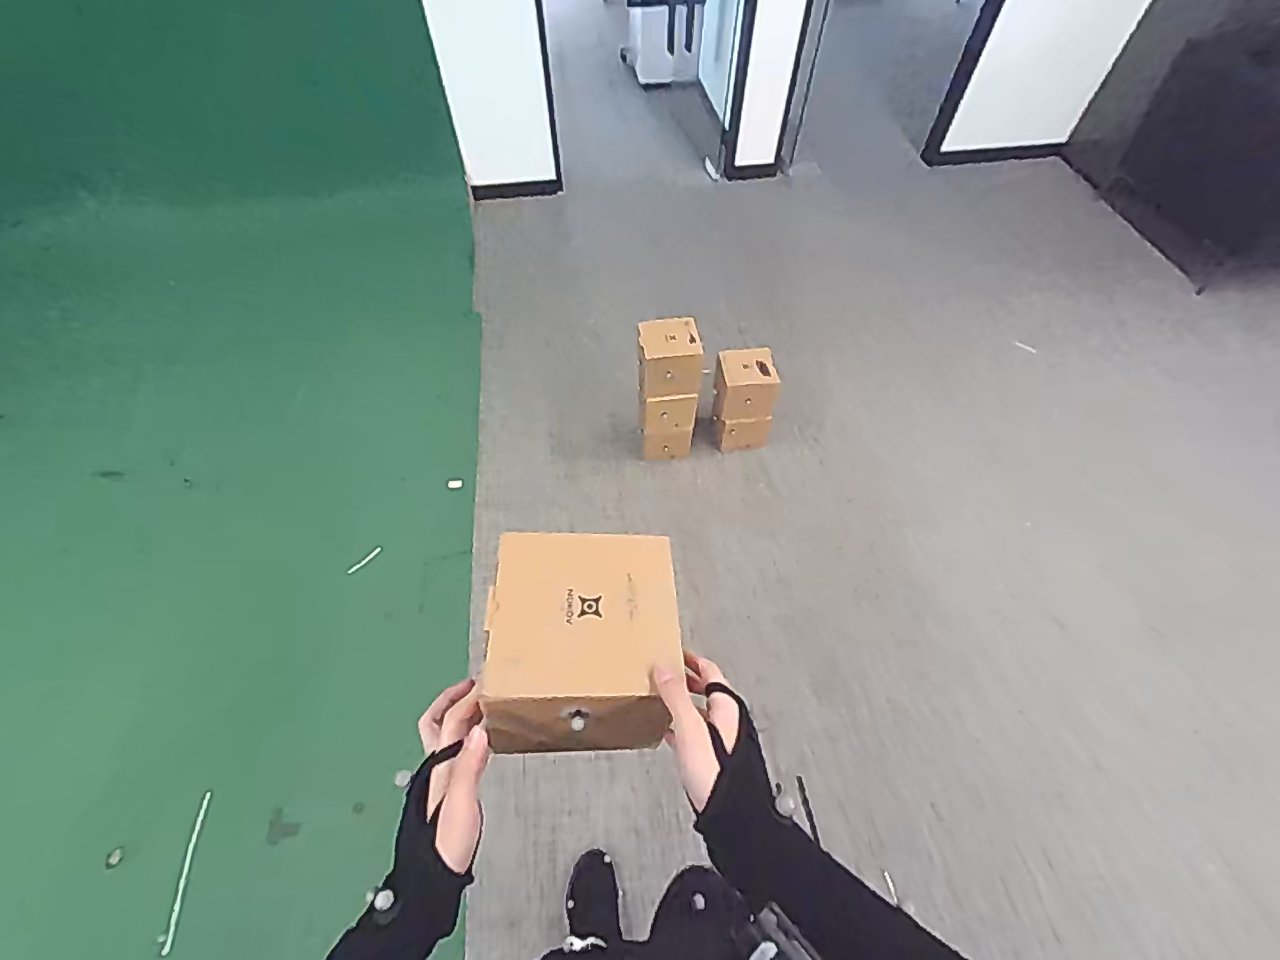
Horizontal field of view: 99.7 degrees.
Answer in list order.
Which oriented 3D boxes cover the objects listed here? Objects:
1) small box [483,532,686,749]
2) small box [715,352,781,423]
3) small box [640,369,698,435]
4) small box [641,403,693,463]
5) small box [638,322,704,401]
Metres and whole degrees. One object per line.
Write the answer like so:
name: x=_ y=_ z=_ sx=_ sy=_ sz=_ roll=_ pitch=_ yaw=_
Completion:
small box: x=-0.057 y=0.171 z=0.568 sx=0.179 sy=0.176 sz=0.168 roll=3 pitch=48 yaw=-7
small box: x=0.360 y=-0.310 z=1.835 sx=0.179 sy=0.176 sz=0.168 roll=-5 pitch=55 yaw=-2
small box: x=0.095 y=-0.265 z=1.808 sx=0.168 sy=0.176 sz=0.179 roll=-8 pitch=56 yaw=-5
small box: x=0.093 y=-0.174 z=1.941 sx=0.168 sy=0.176 sz=0.179 roll=-5 pitch=56 yaw=-4
small box: x=0.094 y=-0.362 z=1.675 sx=0.179 sy=0.176 sz=0.168 roll=-7 pitch=56 yaw=-4
